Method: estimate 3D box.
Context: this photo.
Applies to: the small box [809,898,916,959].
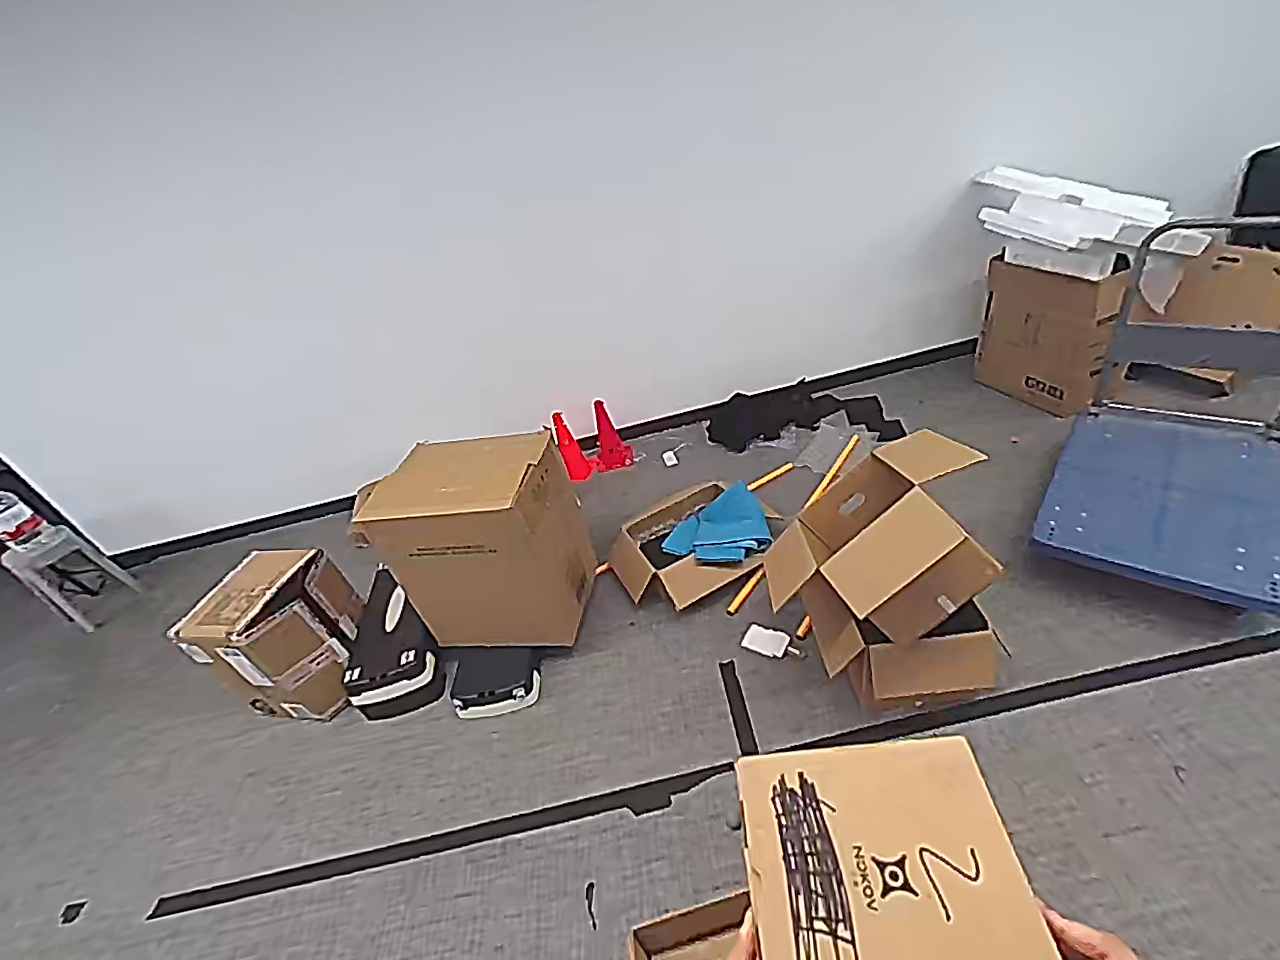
[{"bbox_3d":[0.432,0.942,1.019,0.168,0.176,0.179,-17,35,-2],"label":"small box"}]
